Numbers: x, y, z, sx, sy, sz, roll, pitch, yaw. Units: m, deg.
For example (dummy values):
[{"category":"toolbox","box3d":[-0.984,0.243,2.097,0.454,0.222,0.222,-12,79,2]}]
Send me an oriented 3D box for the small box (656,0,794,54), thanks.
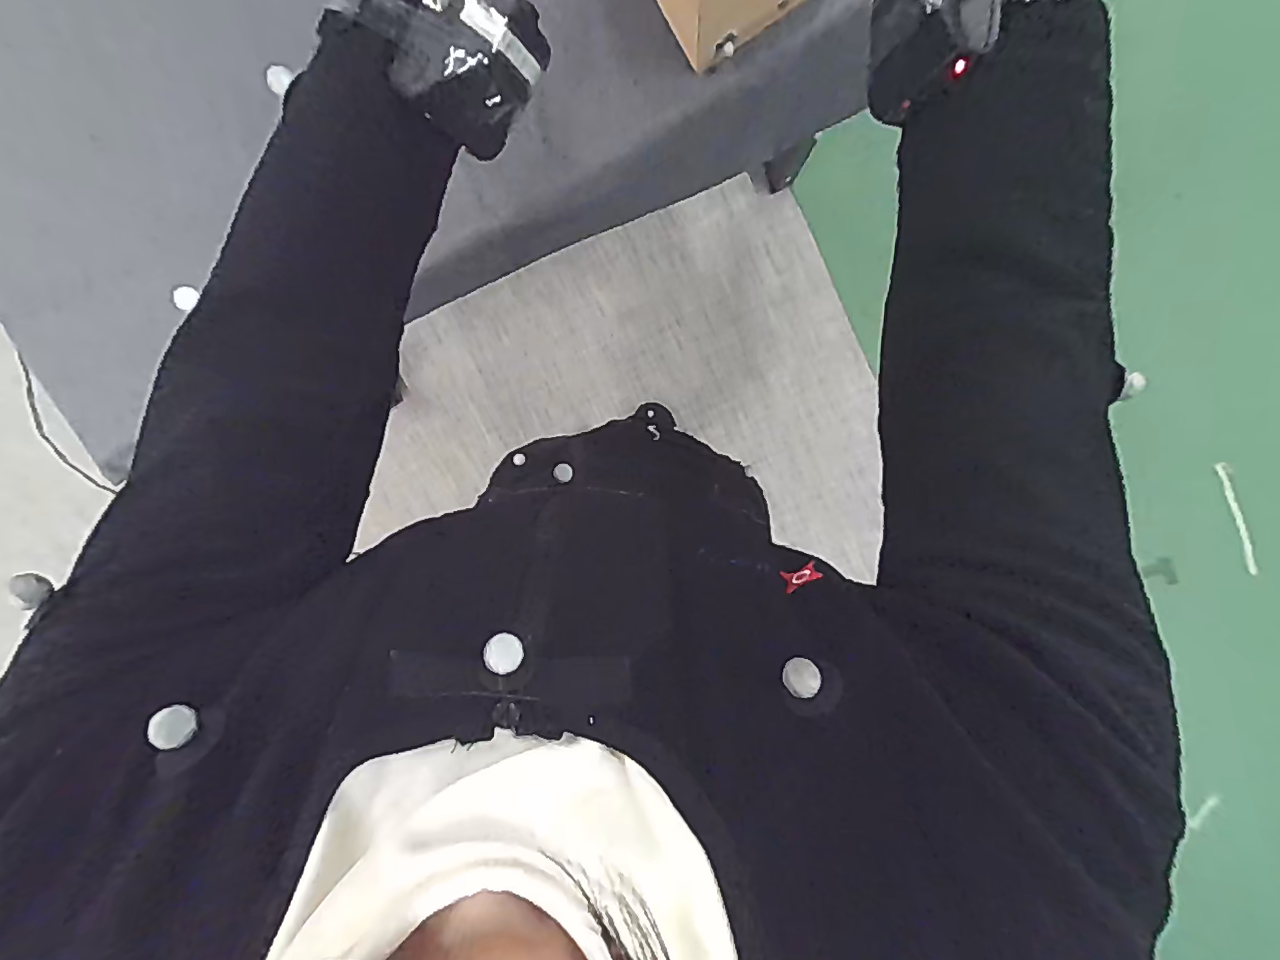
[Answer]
[{"category":"small box","box3d":[0.082,-0.556,0.508,0.168,0.176,0.179,-30,95,9]}]
